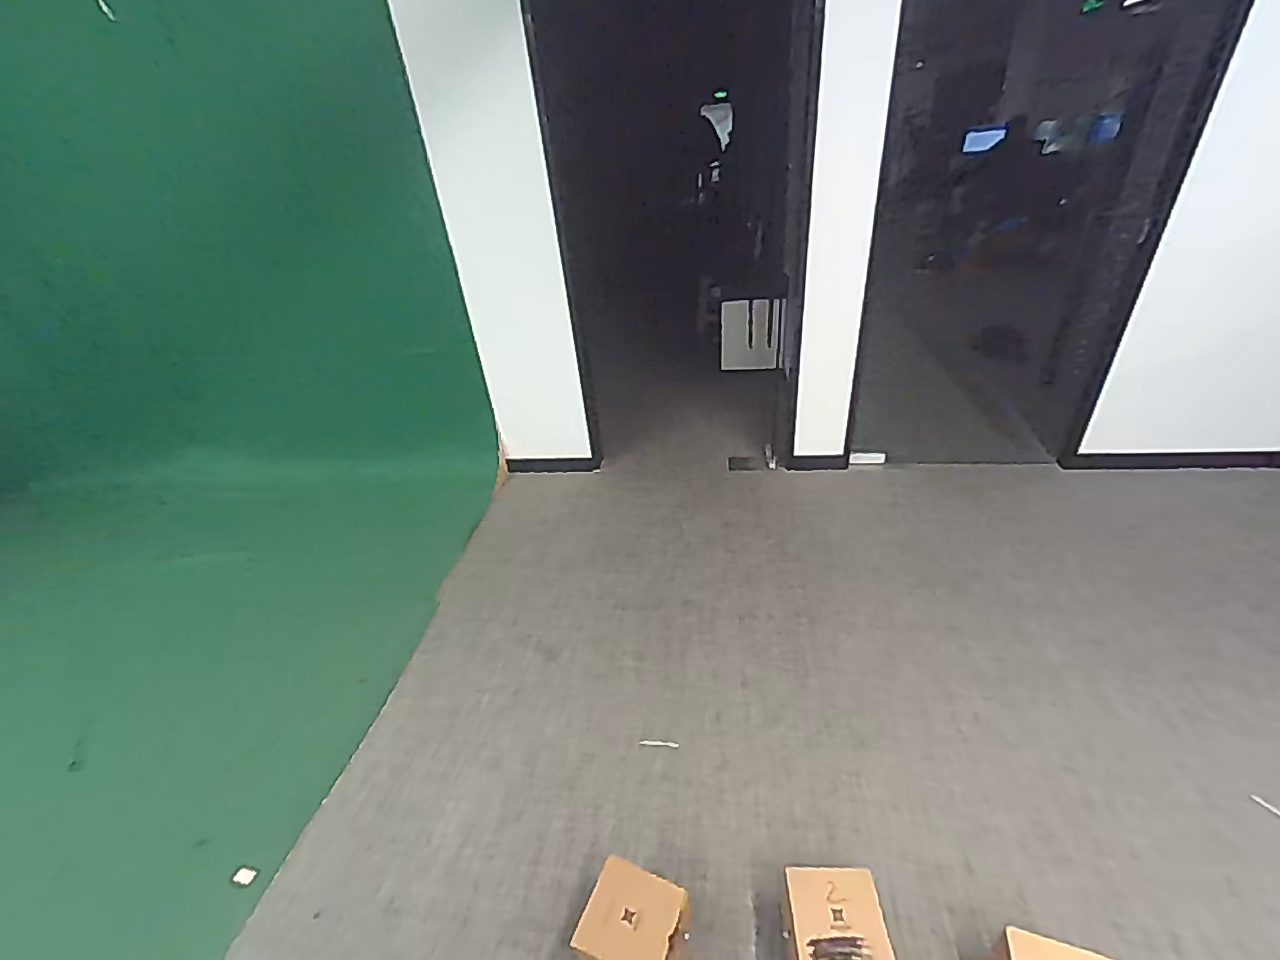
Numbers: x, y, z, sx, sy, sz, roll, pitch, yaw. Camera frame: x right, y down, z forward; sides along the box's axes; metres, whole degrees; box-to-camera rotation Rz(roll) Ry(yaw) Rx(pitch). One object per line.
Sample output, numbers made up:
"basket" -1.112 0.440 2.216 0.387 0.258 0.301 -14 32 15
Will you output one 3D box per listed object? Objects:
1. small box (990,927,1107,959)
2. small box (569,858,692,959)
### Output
"small box" 0.704 0.914 0.908 0.168 0.176 0.179 7 35 18
"small box" -0.008 0.890 1.050 0.179 0.176 0.168 5 33 25
